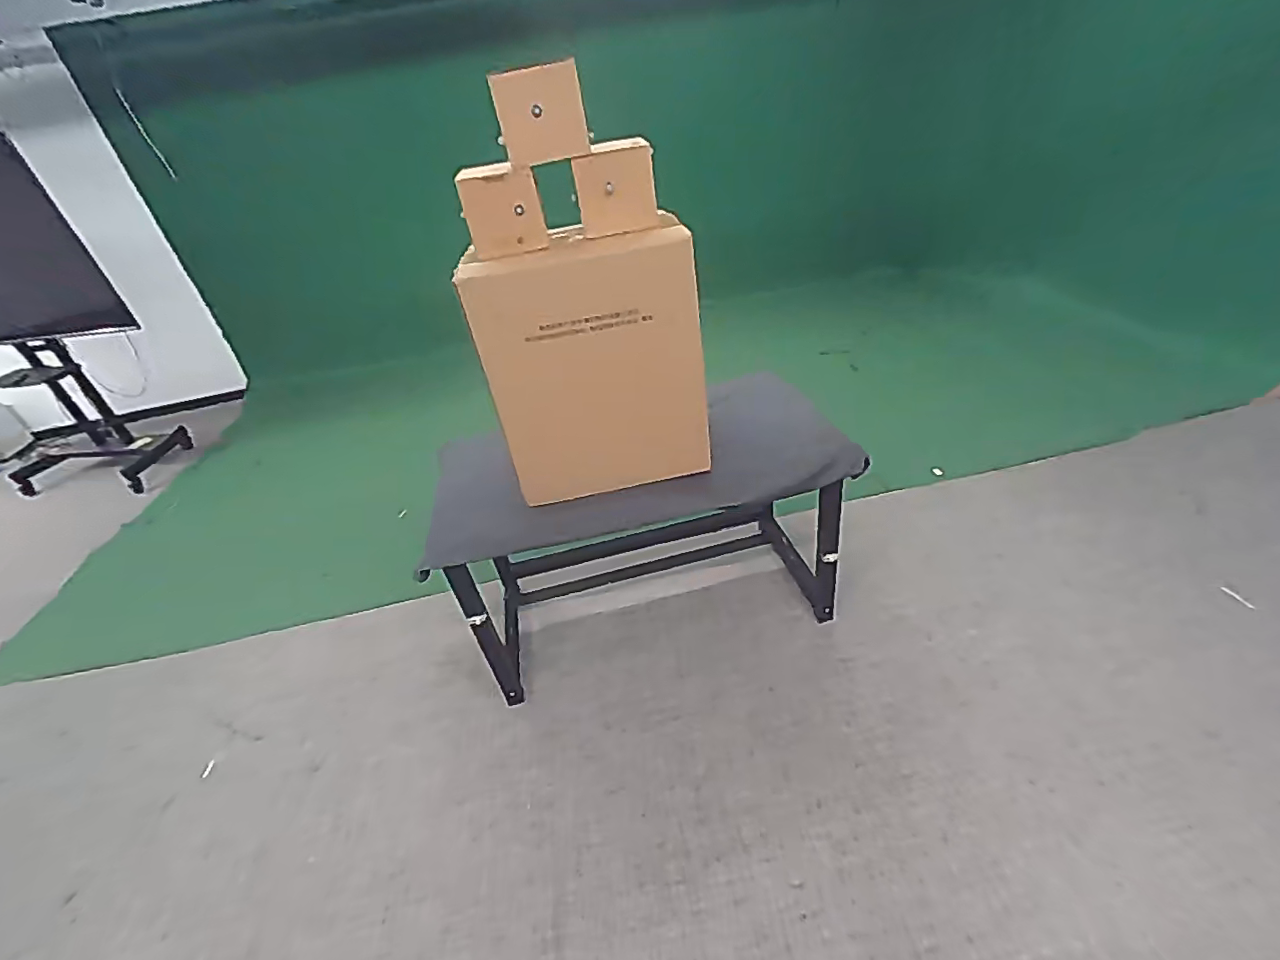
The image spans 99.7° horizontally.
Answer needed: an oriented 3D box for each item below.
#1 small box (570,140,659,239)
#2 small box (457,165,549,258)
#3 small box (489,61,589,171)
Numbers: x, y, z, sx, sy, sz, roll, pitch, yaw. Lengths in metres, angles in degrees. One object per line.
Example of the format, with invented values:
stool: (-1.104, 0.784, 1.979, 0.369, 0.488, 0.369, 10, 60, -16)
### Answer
small box: (-0.061, -0.681, 1.272, 0.179, 0.176, 0.168, -12, 38, -1)
small box: (-0.311, -0.627, 1.262, 0.168, 0.176, 0.179, -11, 36, -4)
small box: (-0.211, -0.784, 1.169, 0.179, 0.176, 0.168, -13, 37, -2)
